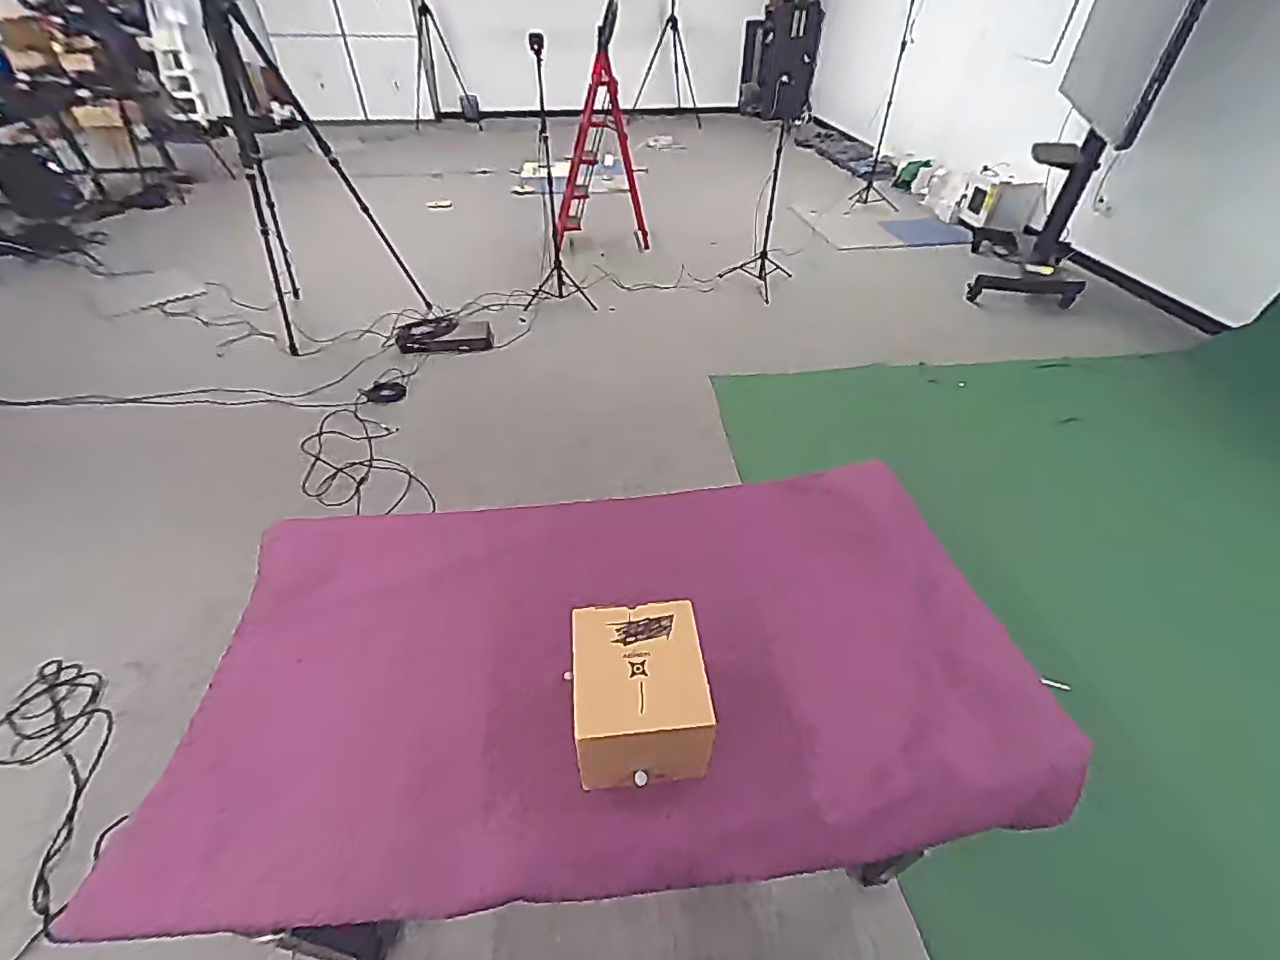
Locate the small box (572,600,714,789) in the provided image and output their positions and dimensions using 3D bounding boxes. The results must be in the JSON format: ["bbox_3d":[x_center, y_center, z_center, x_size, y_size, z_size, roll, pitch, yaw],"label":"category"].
[{"bbox_3d":[-0.004,0.284,0.724,0.168,0.176,0.179,-4,43,-4],"label":"small box"}]
